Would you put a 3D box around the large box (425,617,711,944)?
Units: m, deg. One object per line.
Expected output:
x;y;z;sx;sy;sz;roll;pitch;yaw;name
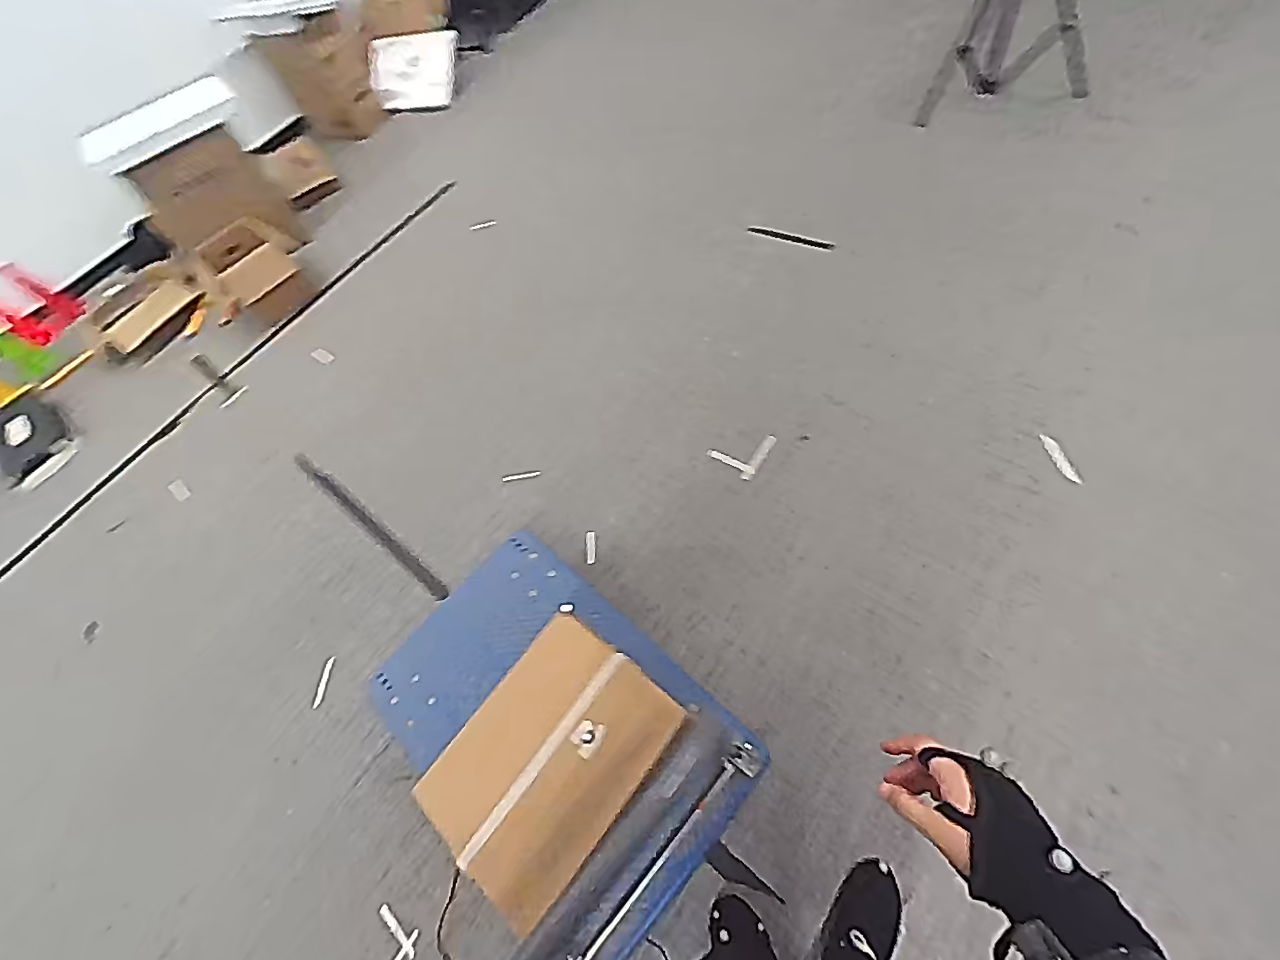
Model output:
-0.112;0.555;1.047;0.320;0.320;0.408;31;71;29;large box
